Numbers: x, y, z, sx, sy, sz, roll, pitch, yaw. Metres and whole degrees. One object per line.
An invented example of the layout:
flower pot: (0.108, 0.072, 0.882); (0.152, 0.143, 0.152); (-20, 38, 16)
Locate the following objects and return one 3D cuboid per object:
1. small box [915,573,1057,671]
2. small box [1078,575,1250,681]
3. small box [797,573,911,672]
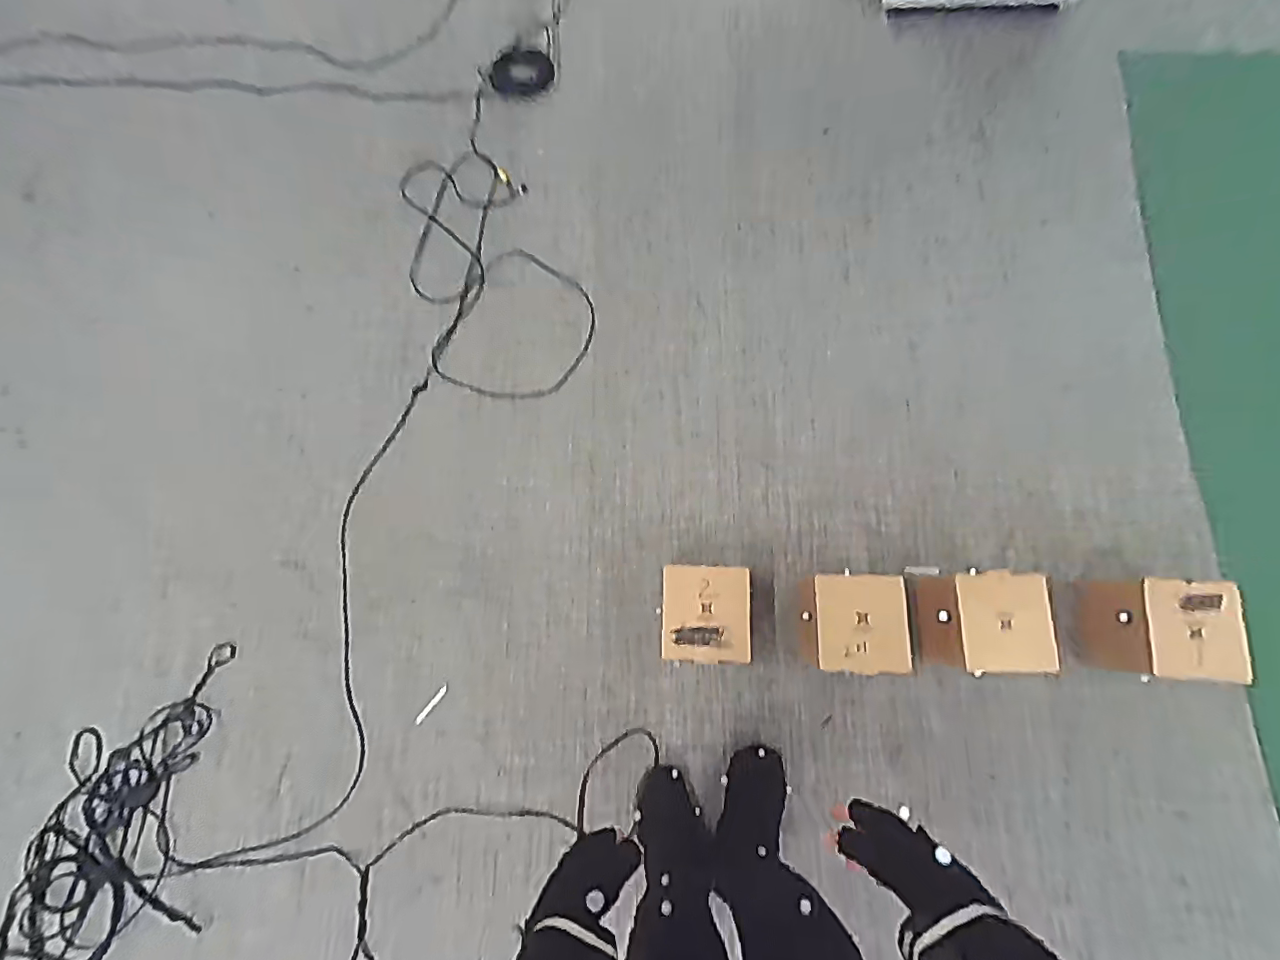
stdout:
small box: (0.669, 0.276, 1.066); (0.168, 0.176, 0.179); (-1, 76, 3)
small box: (0.995, 0.282, 1.046); (0.168, 0.176, 0.179); (3, 77, 4)
small box: (0.414, 0.280, 1.076); (0.168, 0.176, 0.179); (0, 77, 4)
